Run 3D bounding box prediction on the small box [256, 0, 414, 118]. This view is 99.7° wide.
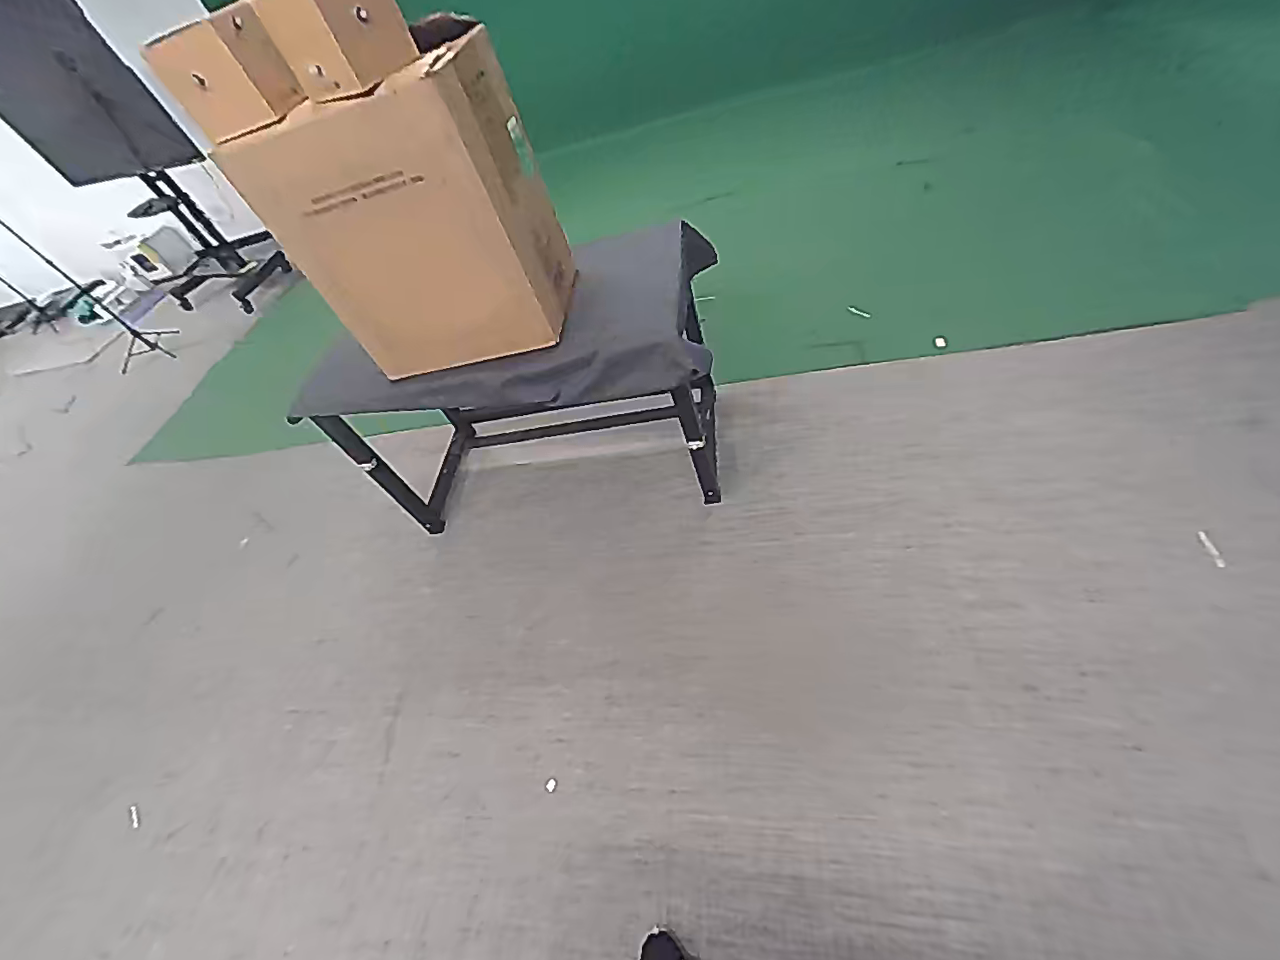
[{"bbox_3d":[-0.572,-0.833,1.044,0.168,0.176,0.179,12,57,28],"label":"small box"}]

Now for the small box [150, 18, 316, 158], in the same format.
[{"bbox_3d":[-0.820,-0.795,1.109,0.179,0.176,0.168,-10,50,16],"label":"small box"}]
